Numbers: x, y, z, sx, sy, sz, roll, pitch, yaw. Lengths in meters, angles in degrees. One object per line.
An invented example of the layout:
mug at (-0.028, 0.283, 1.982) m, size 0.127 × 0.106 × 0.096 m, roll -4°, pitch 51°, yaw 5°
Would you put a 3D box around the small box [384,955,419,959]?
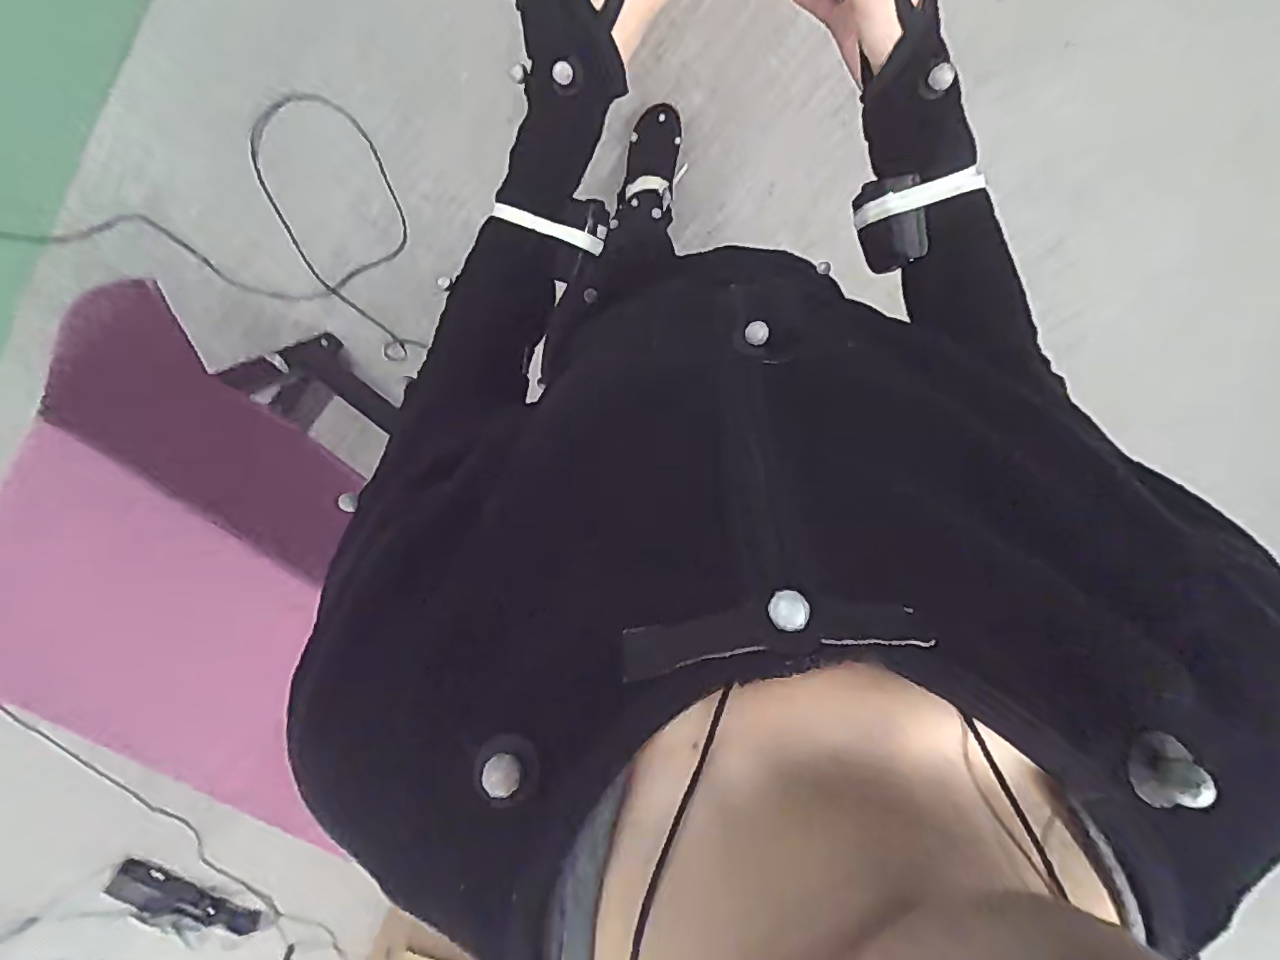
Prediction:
small box at (-0.303, 0.737, 0.668) m, size 0.168 × 0.176 × 0.179 m, roll 31°, pitch 112°, yaw -13°
